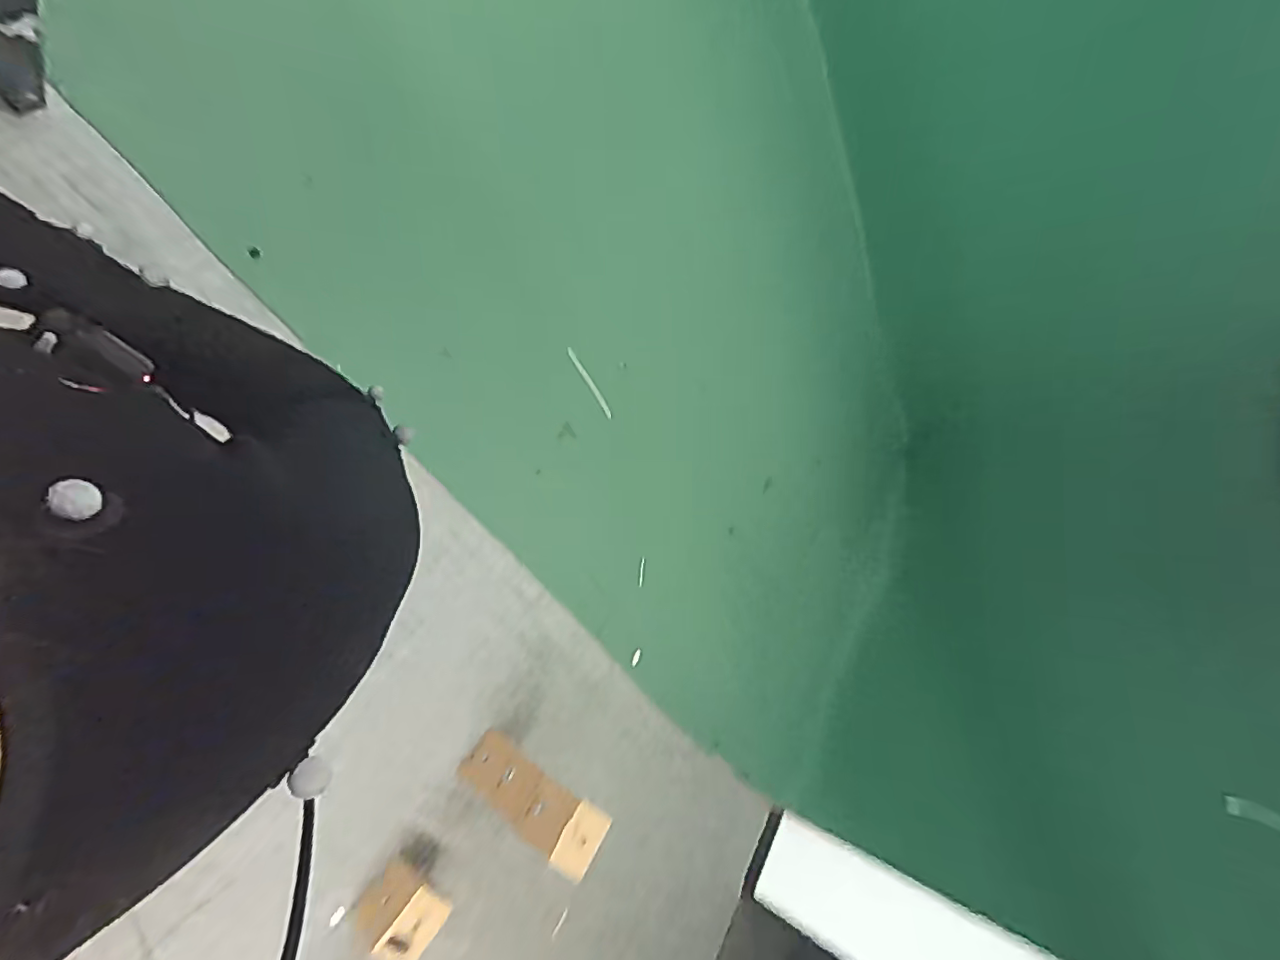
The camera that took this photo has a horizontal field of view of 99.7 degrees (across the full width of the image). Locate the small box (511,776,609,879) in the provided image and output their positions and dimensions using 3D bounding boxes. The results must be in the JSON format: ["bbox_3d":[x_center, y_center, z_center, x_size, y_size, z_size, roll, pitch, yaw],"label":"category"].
[{"bbox_3d":[-0.226,0.975,1.526,0.168,0.176,0.179,-55,130,-29],"label":"small box"}]

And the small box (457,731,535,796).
[{"bbox_3d":[-0.457,0.946,1.756,0.168,0.176,0.179,-50,127,-30],"label":"small box"}]

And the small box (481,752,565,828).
[{"bbox_3d":[-0.342,0.961,1.642,0.168,0.176,0.179,-54,129,-29],"label":"small box"}]
